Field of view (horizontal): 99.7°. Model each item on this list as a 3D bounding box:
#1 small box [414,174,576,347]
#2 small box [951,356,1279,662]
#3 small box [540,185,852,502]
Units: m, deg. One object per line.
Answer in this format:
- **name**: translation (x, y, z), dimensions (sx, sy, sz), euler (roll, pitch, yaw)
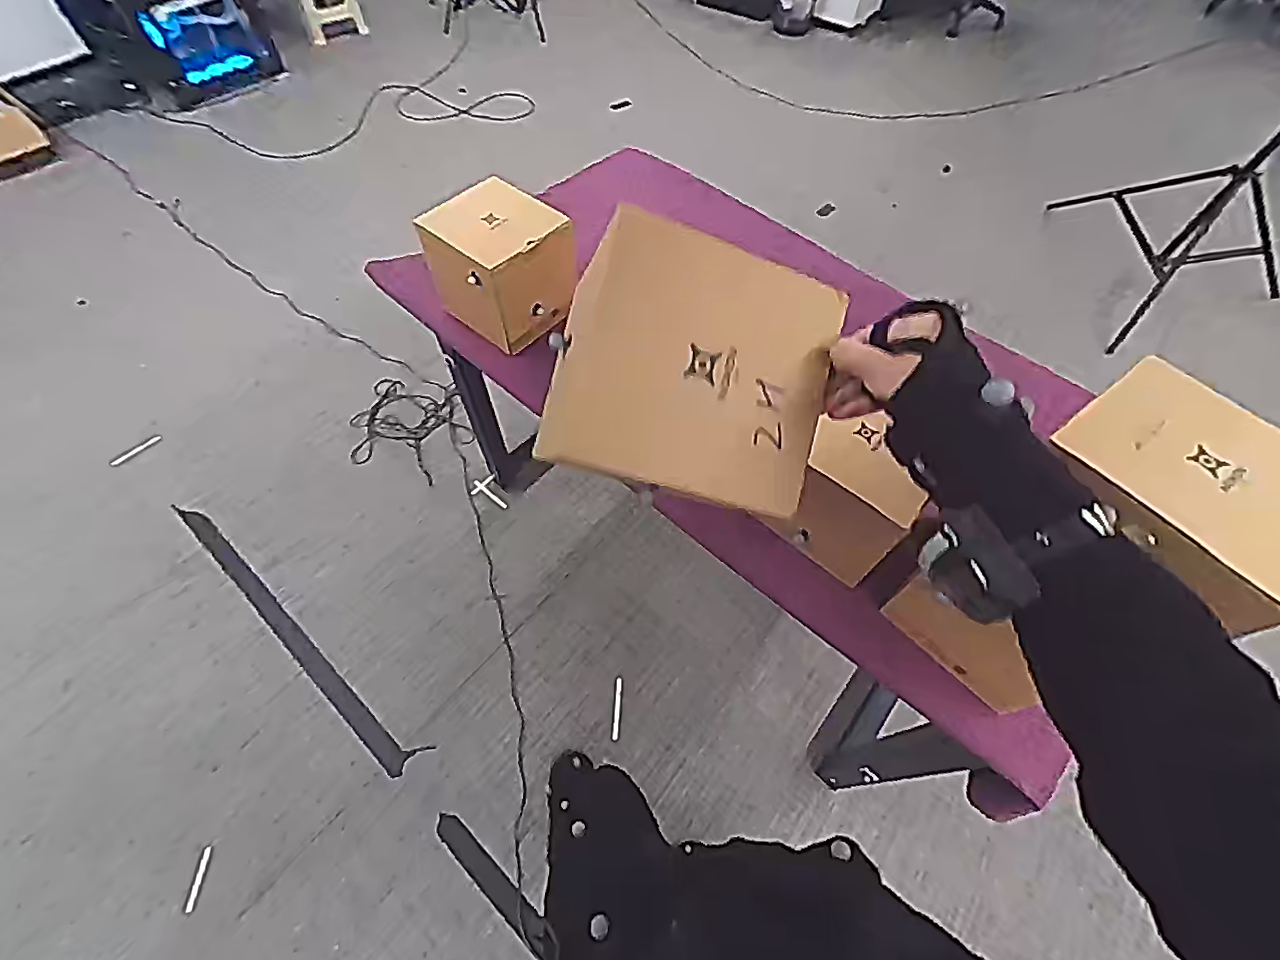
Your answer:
- **small box**: translation (-0.221, -0.348, 0.870), dimensions (0.179, 0.176, 0.168), euler (36, 64, 18)
- **small box**: translation (0.422, 0.034, 0.465), dimensions (0.168, 0.176, 0.179), euler (-31, 63, -21)
- **small box**: translation (0.027, -0.087, 0.431), dimensions (0.179, 0.176, 0.168), euler (16, 89, -16)
